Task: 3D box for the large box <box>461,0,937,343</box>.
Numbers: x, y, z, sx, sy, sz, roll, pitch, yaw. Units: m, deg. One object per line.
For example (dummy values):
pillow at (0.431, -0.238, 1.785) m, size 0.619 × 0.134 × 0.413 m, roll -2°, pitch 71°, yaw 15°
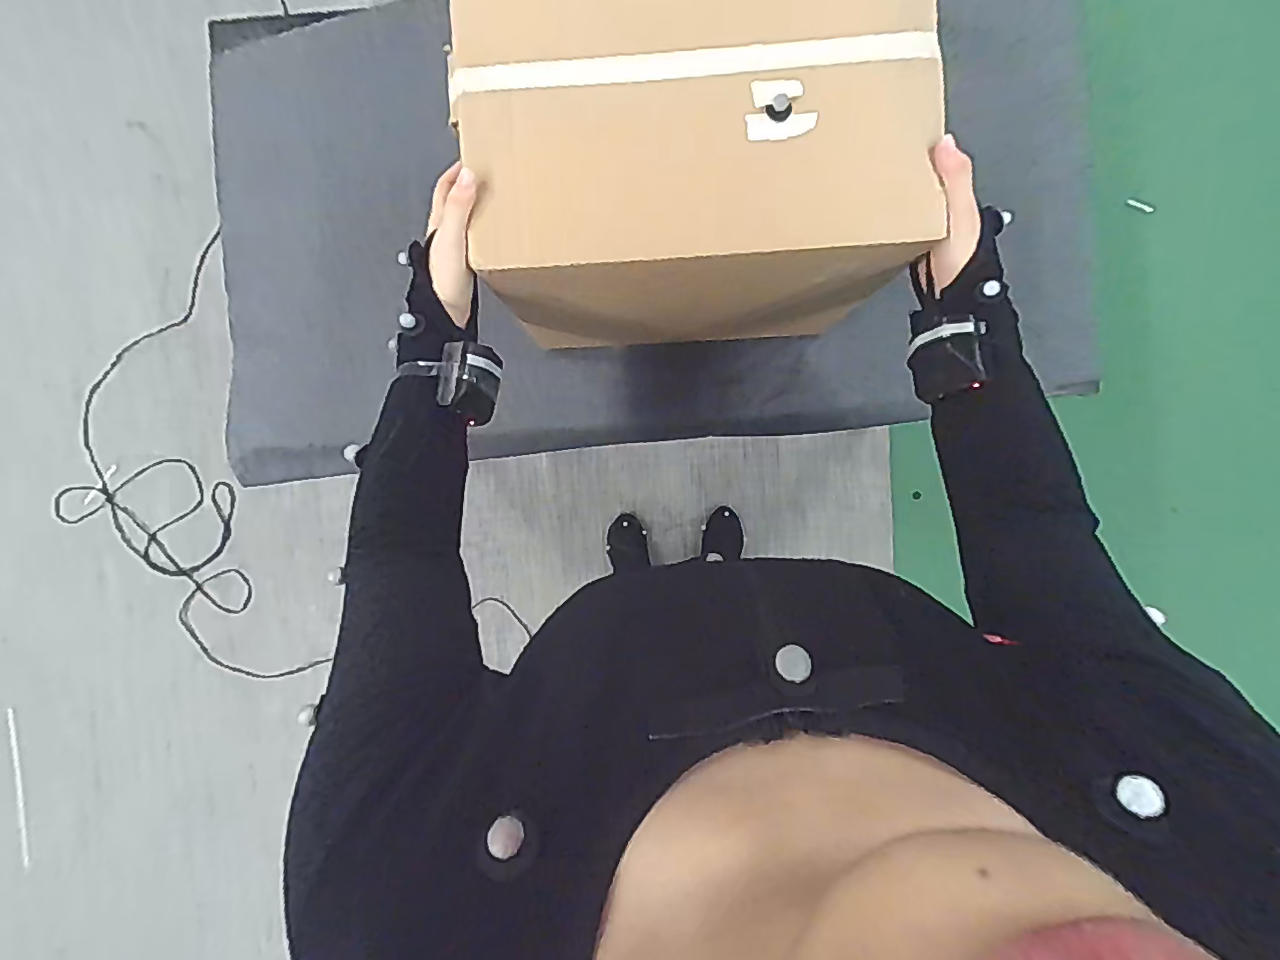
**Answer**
large box at (0.049, -0.357, 0.615) m, size 0.408 × 0.320 × 0.320 m, roll -4°, pitch 92°, yaw 1°
